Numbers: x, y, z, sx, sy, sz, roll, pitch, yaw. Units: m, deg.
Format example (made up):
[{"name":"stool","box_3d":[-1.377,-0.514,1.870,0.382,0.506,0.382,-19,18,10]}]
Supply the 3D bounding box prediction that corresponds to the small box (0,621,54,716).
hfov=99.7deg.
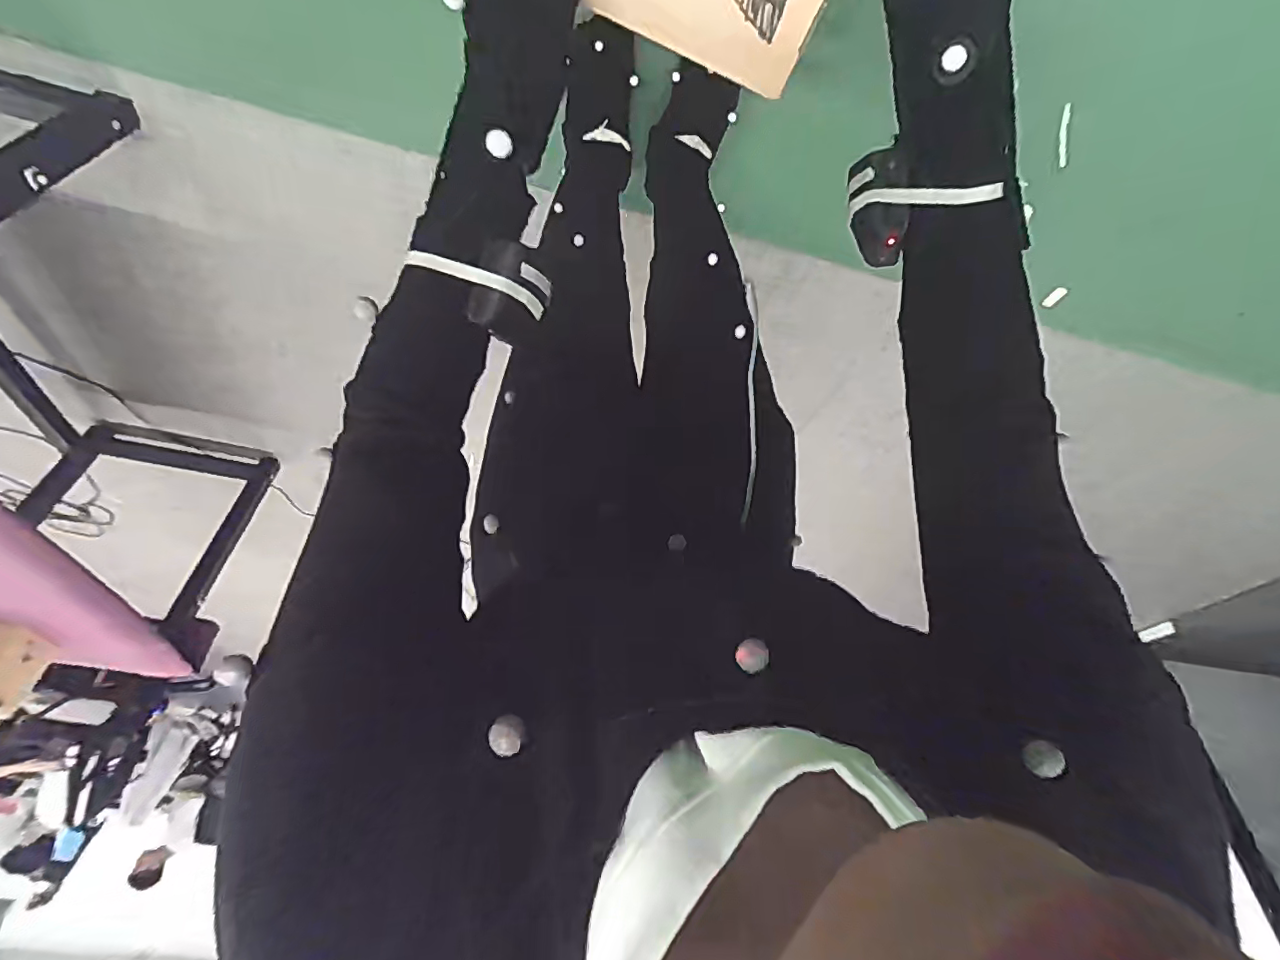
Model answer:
[{"name":"small box","box_3d":[-1.526,0.419,1.230,0.179,0.176,0.168,12,142,-11]}]

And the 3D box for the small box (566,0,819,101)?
[{"name":"small box","box_3d":[0.049,-0.406,0.361,0.179,0.176,0.168,18,141,-13]}]
